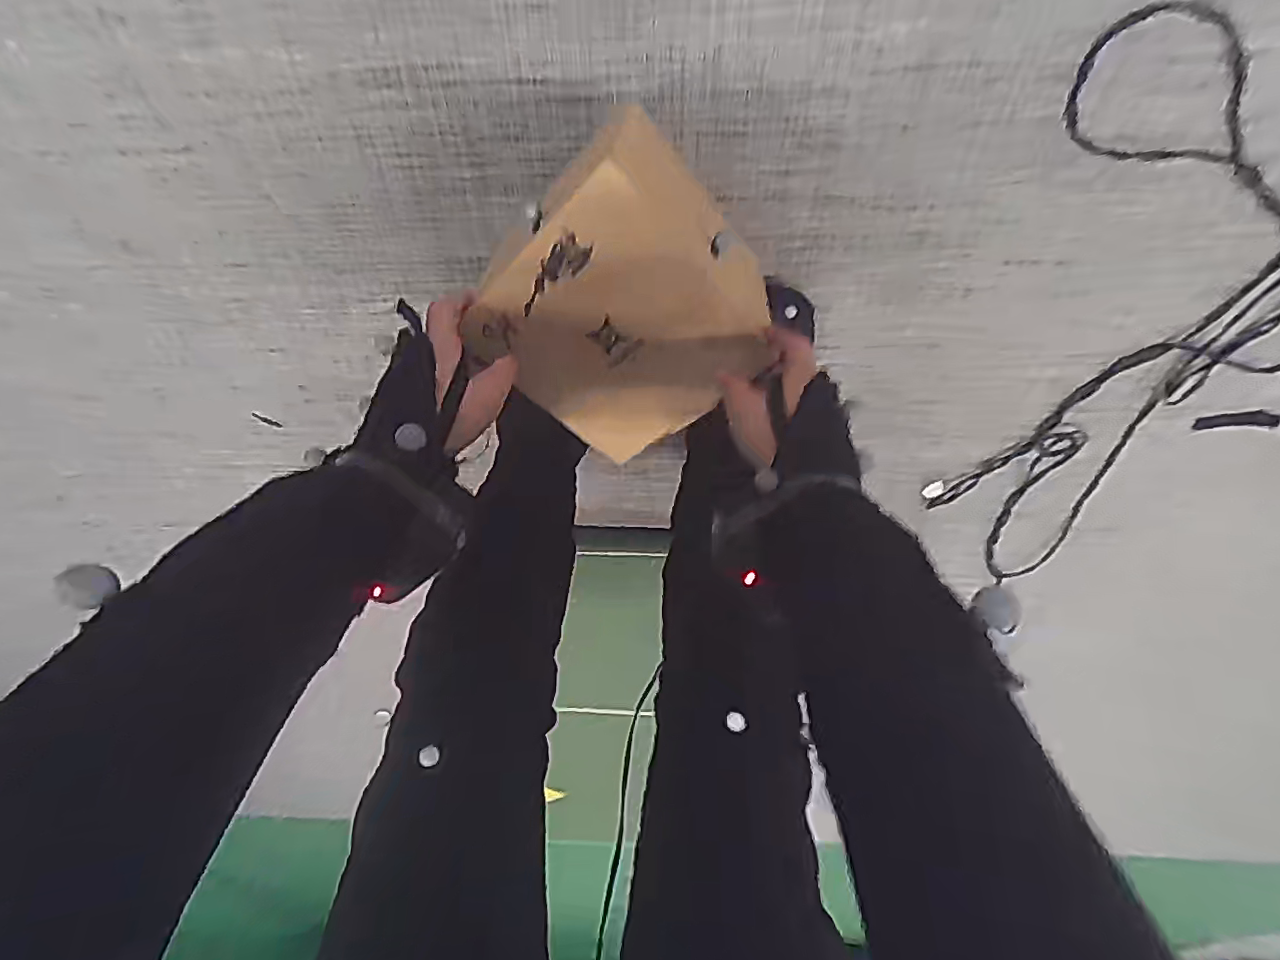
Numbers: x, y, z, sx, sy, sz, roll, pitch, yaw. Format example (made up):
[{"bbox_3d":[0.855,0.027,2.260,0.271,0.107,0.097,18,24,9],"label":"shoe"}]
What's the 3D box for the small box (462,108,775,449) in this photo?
[{"bbox_3d":[-0.010,-0.165,0.454,0.168,0.176,0.179,-32,125,31],"label":"small box"}]
